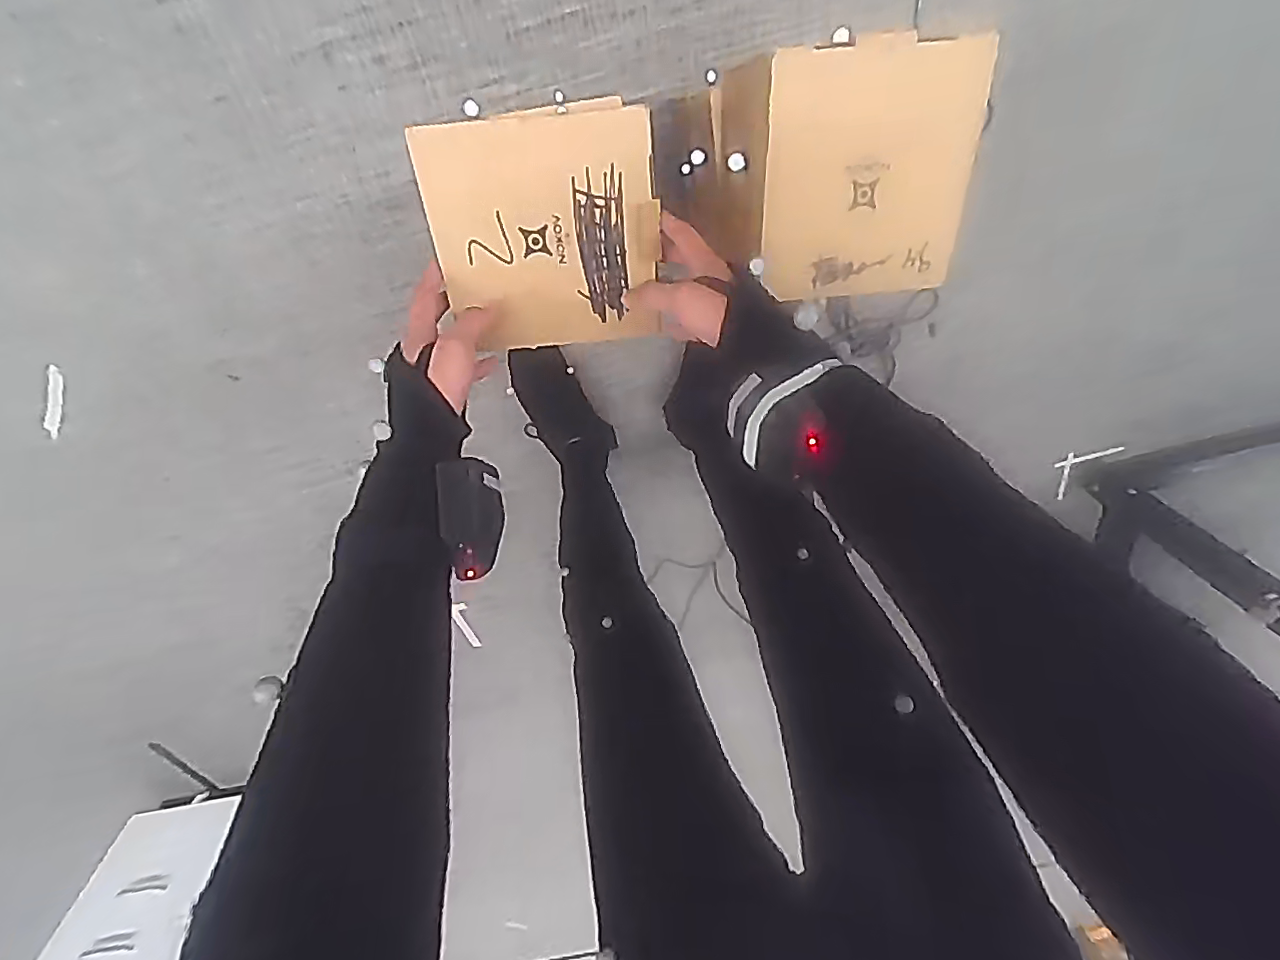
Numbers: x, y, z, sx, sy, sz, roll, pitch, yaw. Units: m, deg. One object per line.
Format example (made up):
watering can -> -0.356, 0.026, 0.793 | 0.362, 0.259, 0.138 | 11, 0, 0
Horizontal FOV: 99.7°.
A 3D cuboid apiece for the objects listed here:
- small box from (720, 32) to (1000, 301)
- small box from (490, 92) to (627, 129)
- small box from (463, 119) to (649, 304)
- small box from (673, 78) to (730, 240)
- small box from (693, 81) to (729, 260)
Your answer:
small box -> 0.170, -0.275, 0.486 | 0.168, 0.176, 0.179 | -5, 123, -2
small box -> -0.096, -0.420, 0.755 | 0.168, 0.176, 0.179 | -8, 124, 1
small box -> -0.087, -0.316, 0.628 | 0.179, 0.176, 0.168 | -5, 124, -1
small box -> 0.147, -0.457, 0.756 | 0.168, 0.176, 0.179 | -12, 124, 4
small box -> 0.160, -0.367, 0.622 | 0.179, 0.176, 0.168 | -11, 124, 2
